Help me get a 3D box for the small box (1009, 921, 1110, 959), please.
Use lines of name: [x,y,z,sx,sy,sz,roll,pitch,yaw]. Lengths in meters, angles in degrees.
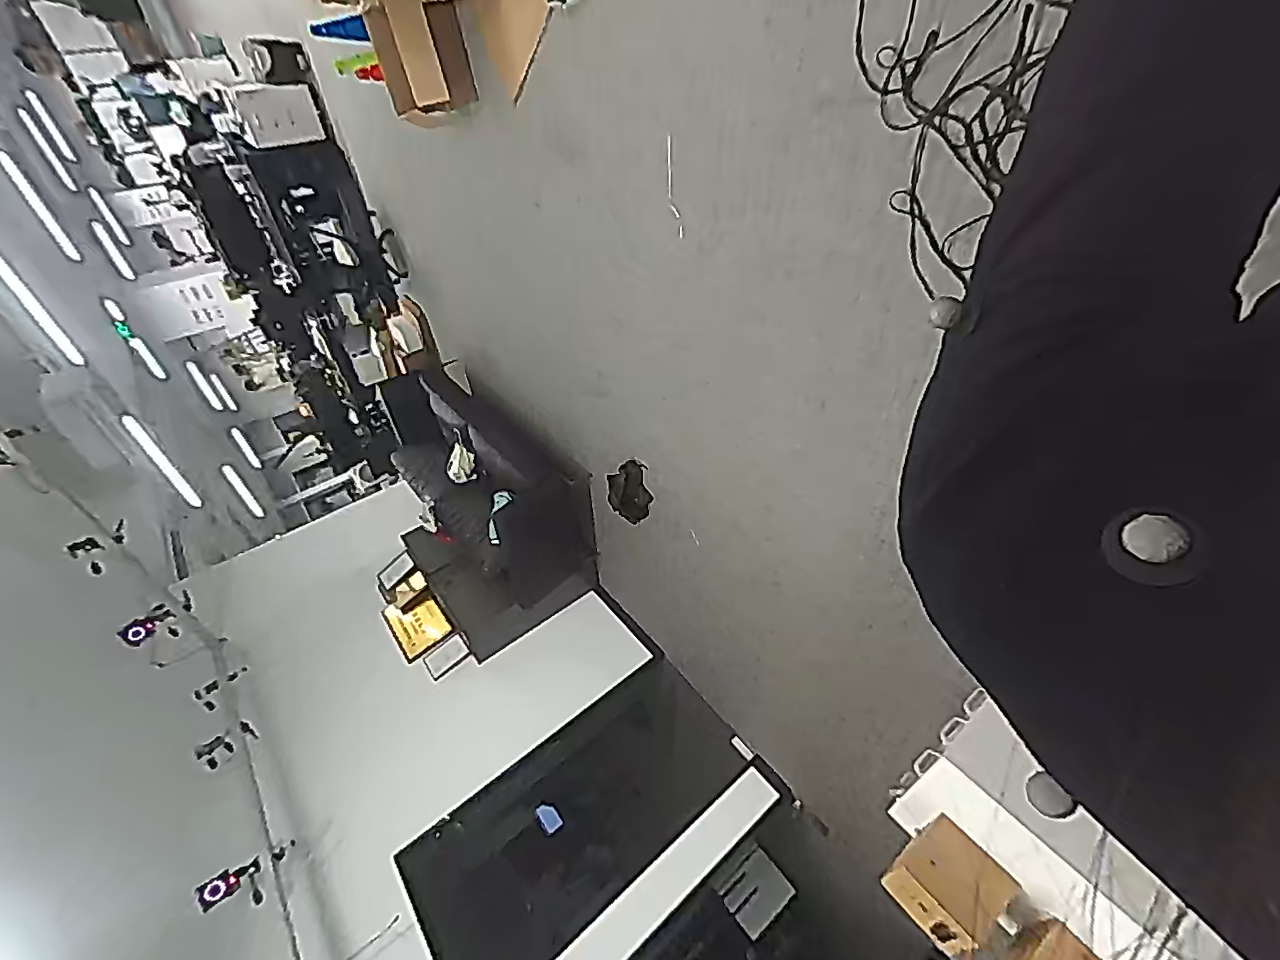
small box: [0.847,1.024,1.067,0.168,0.176,0.179,41,147,35]
